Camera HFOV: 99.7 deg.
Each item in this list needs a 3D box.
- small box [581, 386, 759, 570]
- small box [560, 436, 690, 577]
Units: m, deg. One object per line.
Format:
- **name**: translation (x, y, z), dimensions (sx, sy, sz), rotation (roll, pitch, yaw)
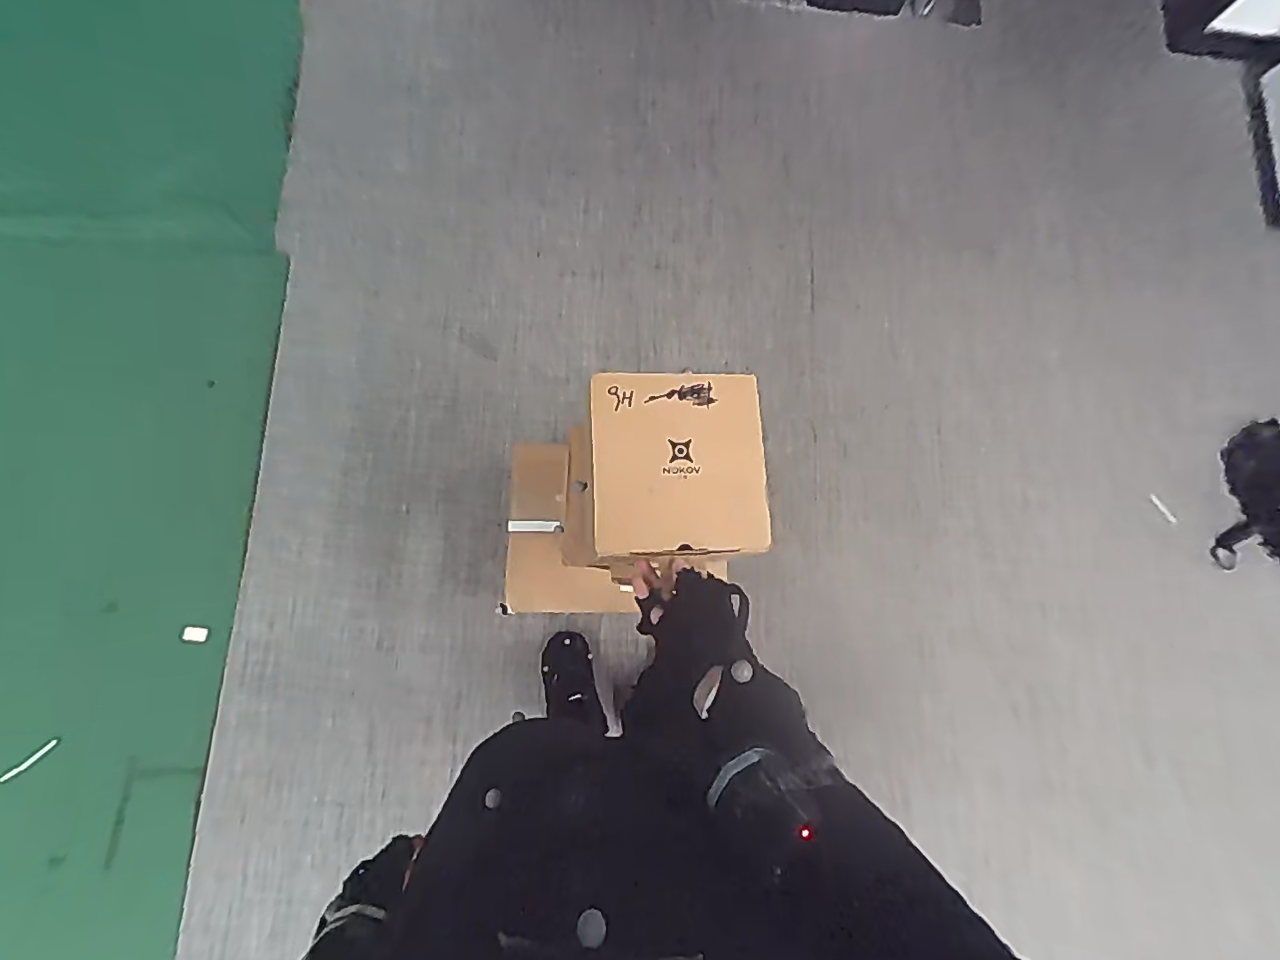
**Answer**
- **small box**: translation (0.021, 0.008, 0.592), dimensions (0.168, 0.176, 0.179), rotation (-1, 80, -8)
- **small box**: translation (-0.023, 0.040, 0.758), dimensions (0.168, 0.176, 0.179), rotation (1, 84, -6)
